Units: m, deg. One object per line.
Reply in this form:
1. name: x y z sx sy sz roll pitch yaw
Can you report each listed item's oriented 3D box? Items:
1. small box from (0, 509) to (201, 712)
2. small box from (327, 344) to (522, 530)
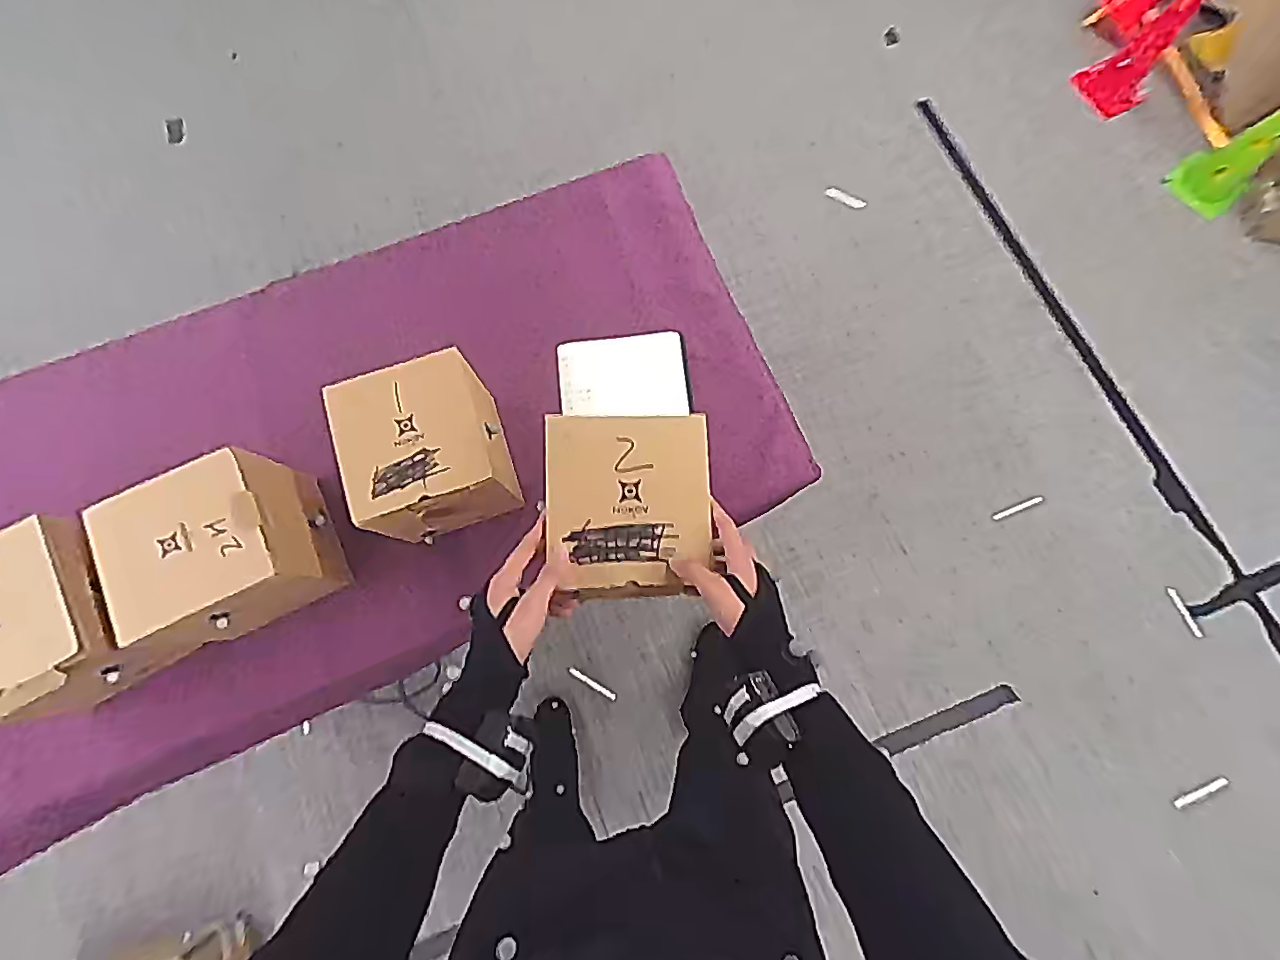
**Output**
1. small box: -0.691 0.159 0.657 0.168 0.176 0.179 -29 78 -7
2. small box: -0.265 -0.042 0.700 0.168 0.176 0.179 -18 77 -4
